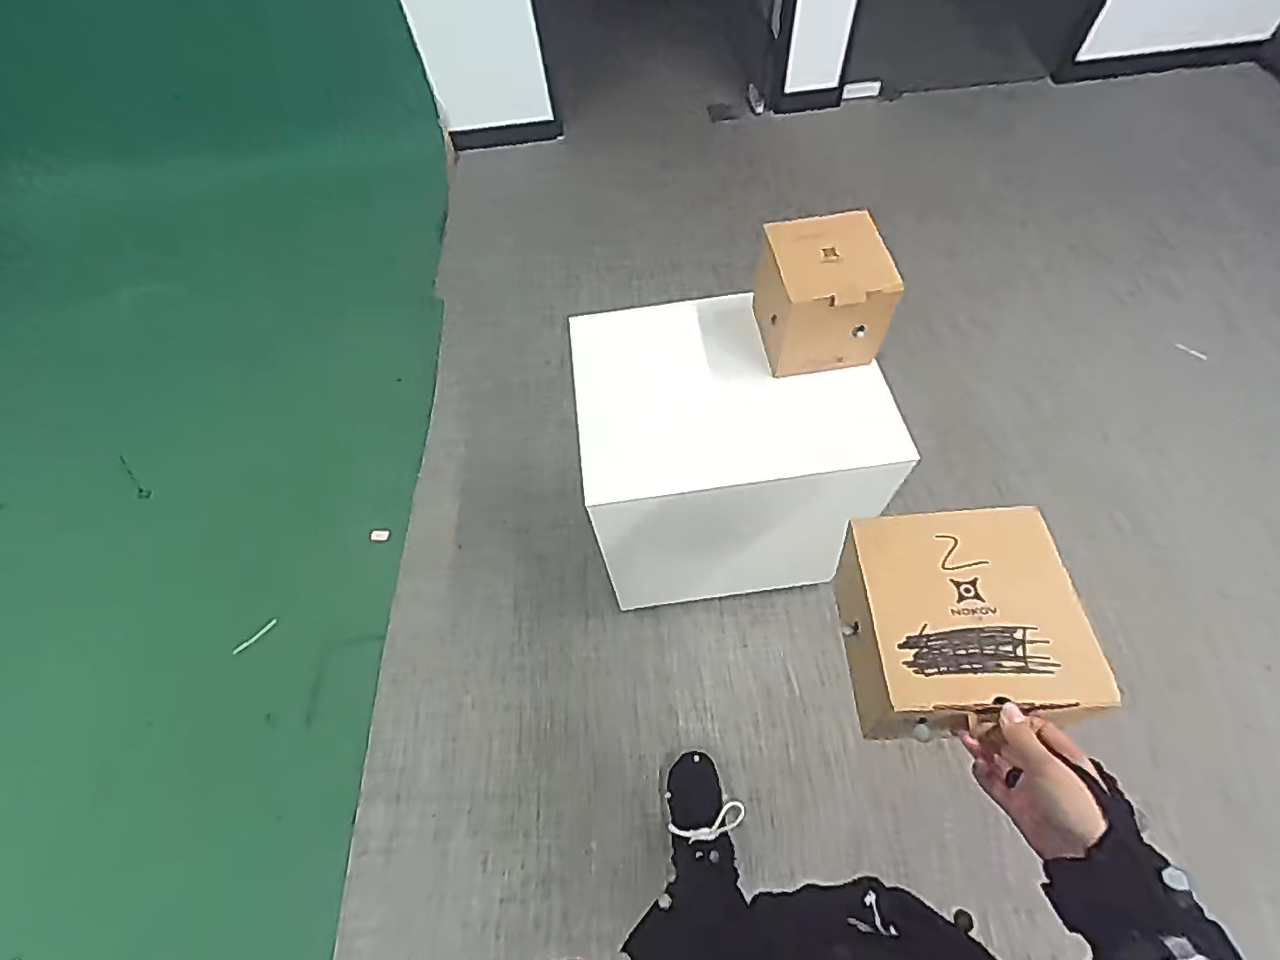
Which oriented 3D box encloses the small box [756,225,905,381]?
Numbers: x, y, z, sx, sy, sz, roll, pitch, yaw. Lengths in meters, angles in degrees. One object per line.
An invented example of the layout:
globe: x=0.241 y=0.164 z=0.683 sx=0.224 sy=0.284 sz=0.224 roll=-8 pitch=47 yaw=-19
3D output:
small box: x=0.292 y=-0.274 z=0.871 sx=0.168 sy=0.176 sz=0.179 roll=-7 pitch=59 yaw=-1
